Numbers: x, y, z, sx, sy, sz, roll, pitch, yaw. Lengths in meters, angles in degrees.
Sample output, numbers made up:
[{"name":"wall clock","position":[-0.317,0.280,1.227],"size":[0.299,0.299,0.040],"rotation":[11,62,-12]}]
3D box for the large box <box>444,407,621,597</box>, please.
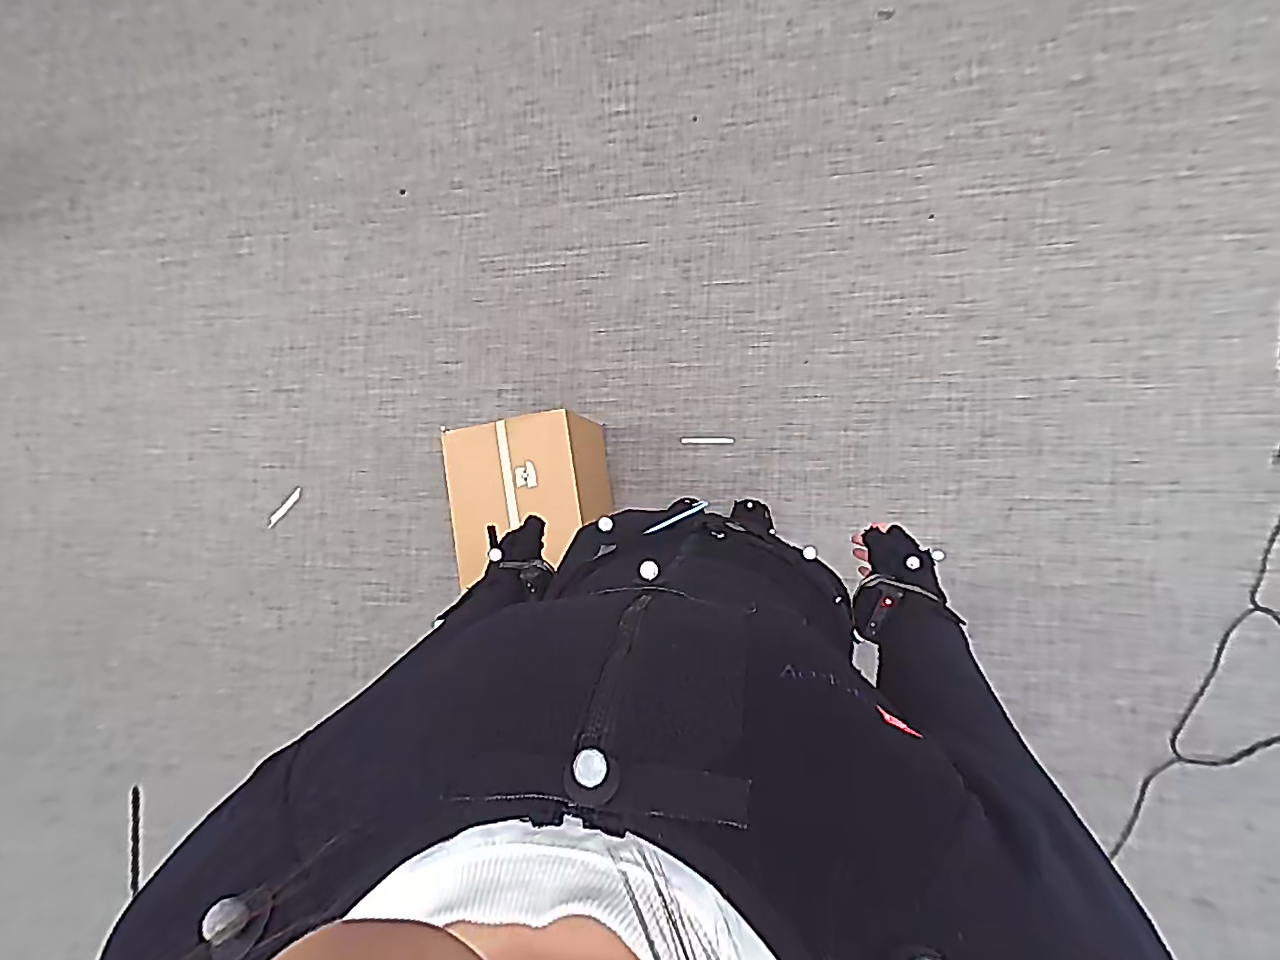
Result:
[{"name":"large box","position":[-0.256,0.059,1.381],"size":[0.320,0.320,0.408],"rotation":[-9,86,10]}]
